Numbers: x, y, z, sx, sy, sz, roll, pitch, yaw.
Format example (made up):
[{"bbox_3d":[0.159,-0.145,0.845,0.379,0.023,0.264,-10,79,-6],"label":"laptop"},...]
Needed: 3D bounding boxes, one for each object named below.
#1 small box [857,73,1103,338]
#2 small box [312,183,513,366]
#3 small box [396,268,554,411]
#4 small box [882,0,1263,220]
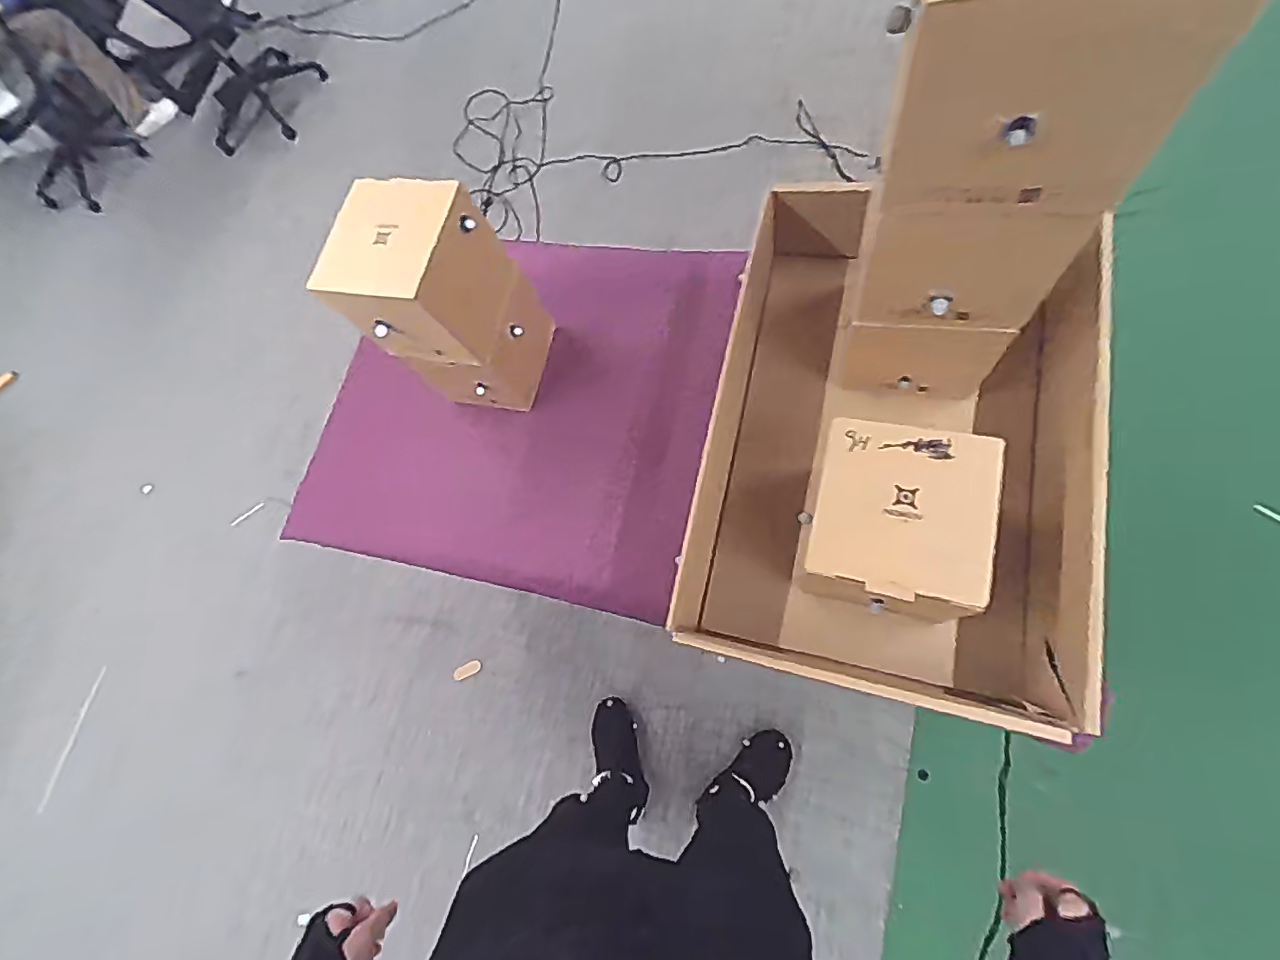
[{"bbox_3d":[0.317,-0.265,0.534,0.168,0.176,0.179,8,76,18],"label":"small box"},{"bbox_3d":[-0.300,-0.278,0.753,0.168,0.176,0.179,10,74,16],"label":"small box"},{"bbox_3d":[-0.261,-0.232,0.903,0.168,0.176,0.179,11,75,16],"label":"small box"},{"bbox_3d":[0.277,-0.310,0.379,0.168,0.176,0.179,10,76,17],"label":"small box"}]
